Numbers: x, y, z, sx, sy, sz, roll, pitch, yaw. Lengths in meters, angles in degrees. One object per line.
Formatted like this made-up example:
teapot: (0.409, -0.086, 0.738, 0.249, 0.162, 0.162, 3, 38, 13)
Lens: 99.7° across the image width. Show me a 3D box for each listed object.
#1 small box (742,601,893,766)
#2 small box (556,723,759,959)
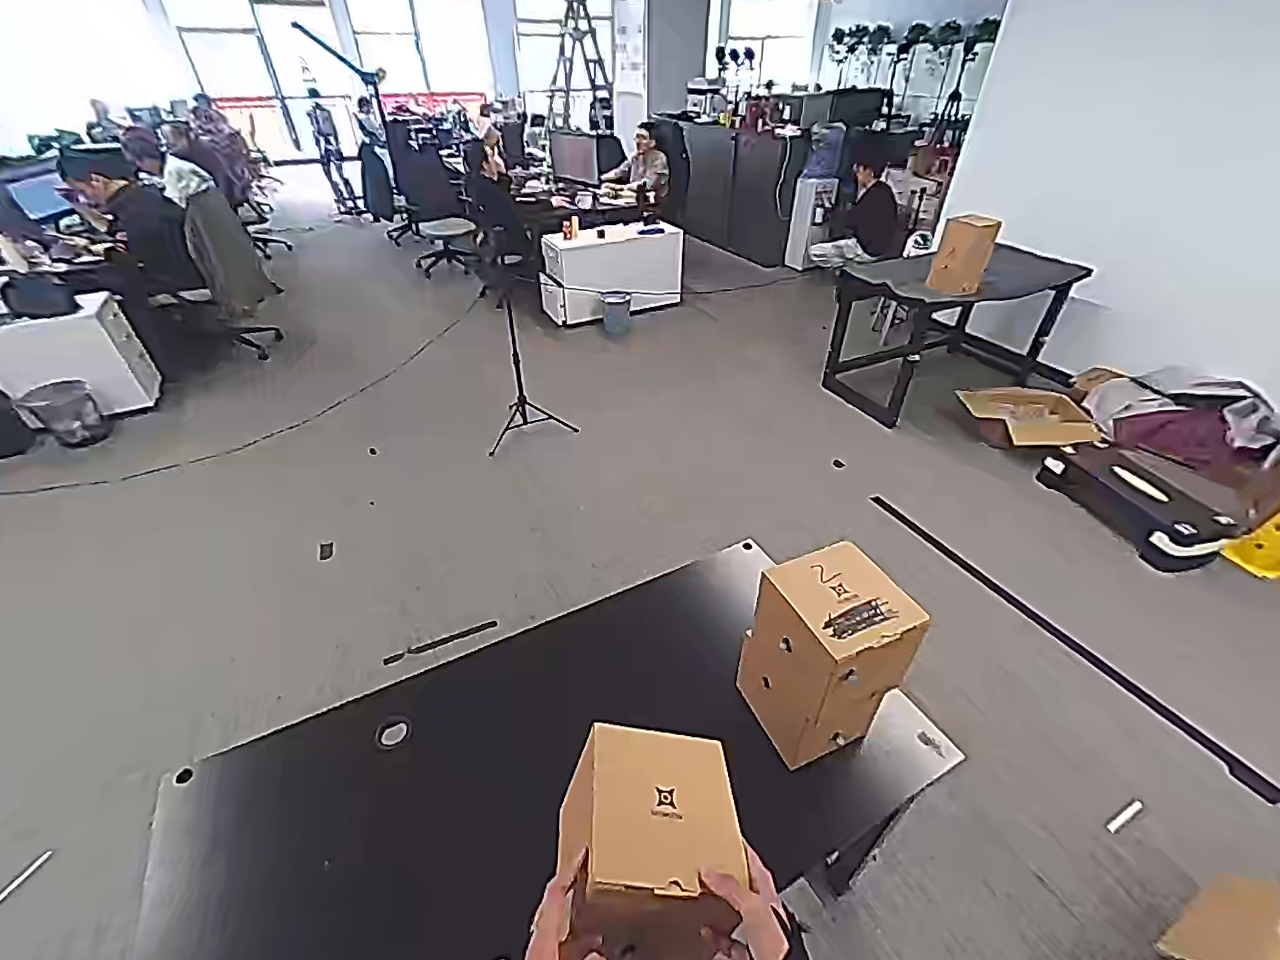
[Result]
small box: (0.290, 0.347, 0.930, 0.168, 0.176, 0.179, -16, 40, -17)
small box: (0.008, 0.412, 0.606, 0.168, 0.176, 0.179, 14, 26, -11)
